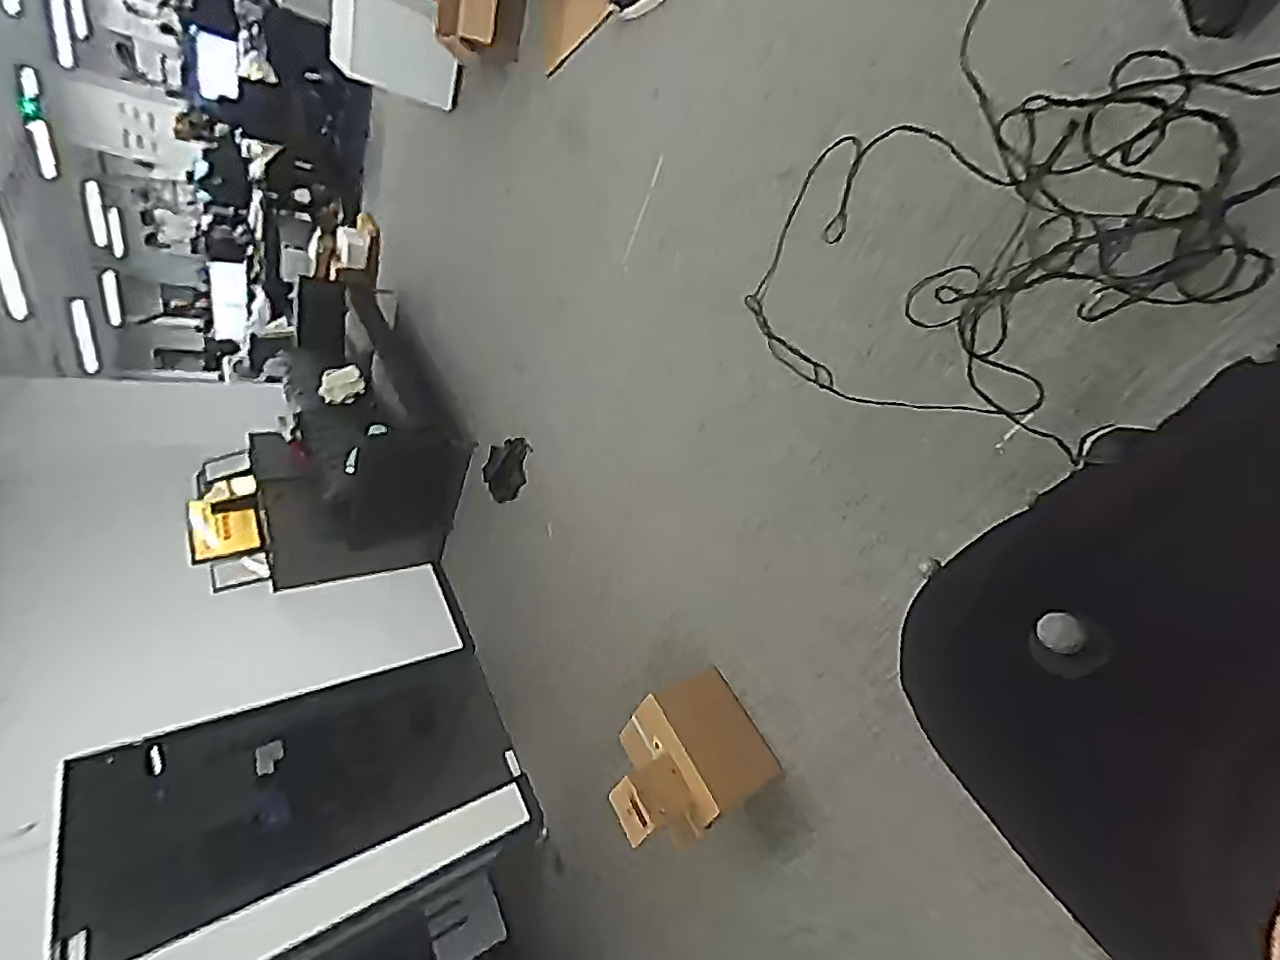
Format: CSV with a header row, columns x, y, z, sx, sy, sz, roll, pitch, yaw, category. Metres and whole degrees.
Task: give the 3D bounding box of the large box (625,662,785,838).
x,y,z,sx,sy,sz,roll,pitch,yaw,category
0.214,0.919,1.877,0.408,0.320,0.320,54,132,34,large box
